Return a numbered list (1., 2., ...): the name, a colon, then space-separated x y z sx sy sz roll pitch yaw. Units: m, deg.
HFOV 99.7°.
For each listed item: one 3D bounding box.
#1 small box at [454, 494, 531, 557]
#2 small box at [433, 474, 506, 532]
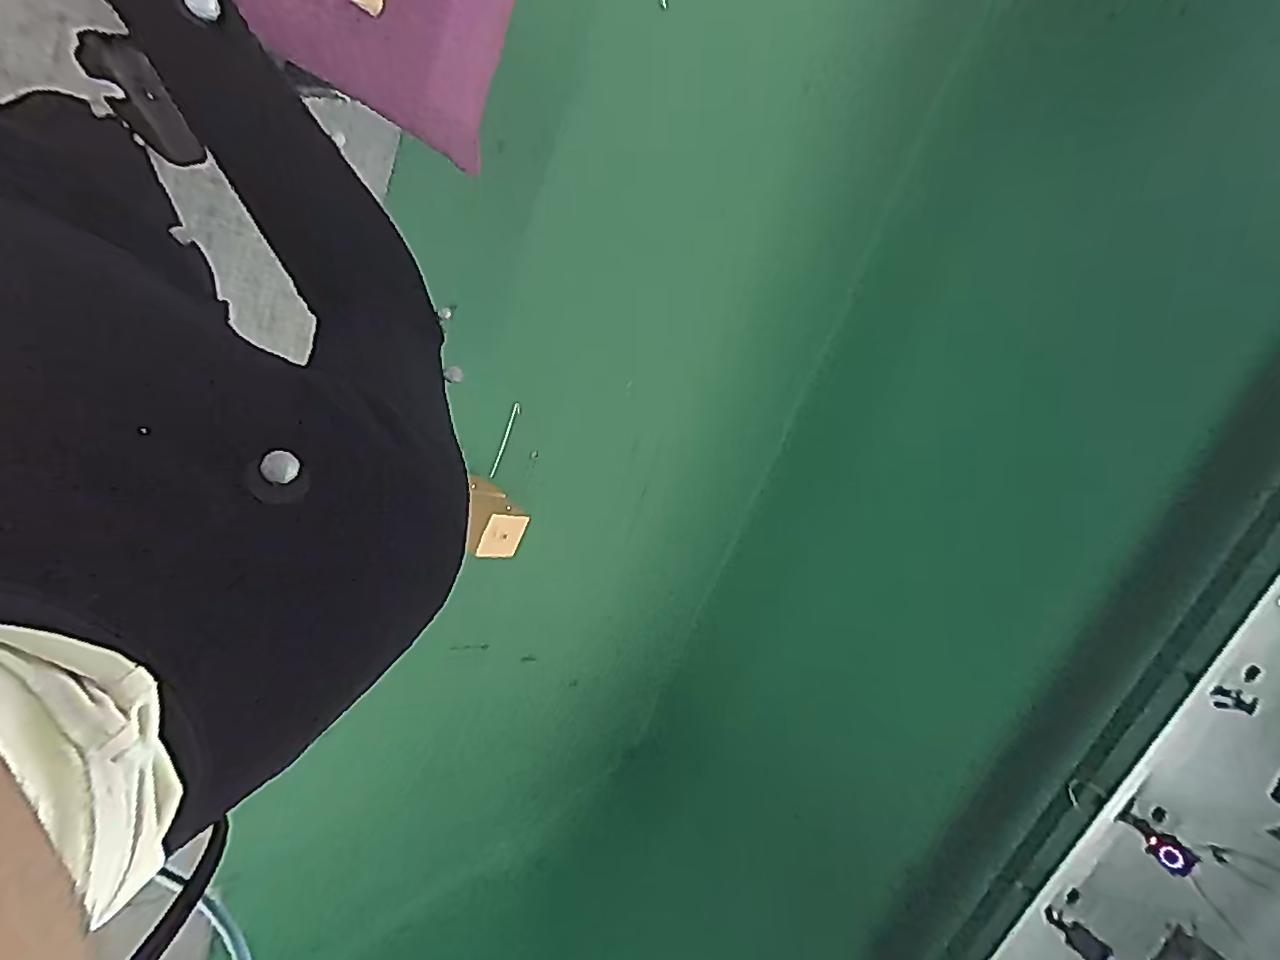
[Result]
1. small box: -0.532 0.163 1.941 0.179 0.176 0.168 12 106 -54
2. small box: -0.644 0.088 2.036 0.179 0.176 0.168 9 109 -53
